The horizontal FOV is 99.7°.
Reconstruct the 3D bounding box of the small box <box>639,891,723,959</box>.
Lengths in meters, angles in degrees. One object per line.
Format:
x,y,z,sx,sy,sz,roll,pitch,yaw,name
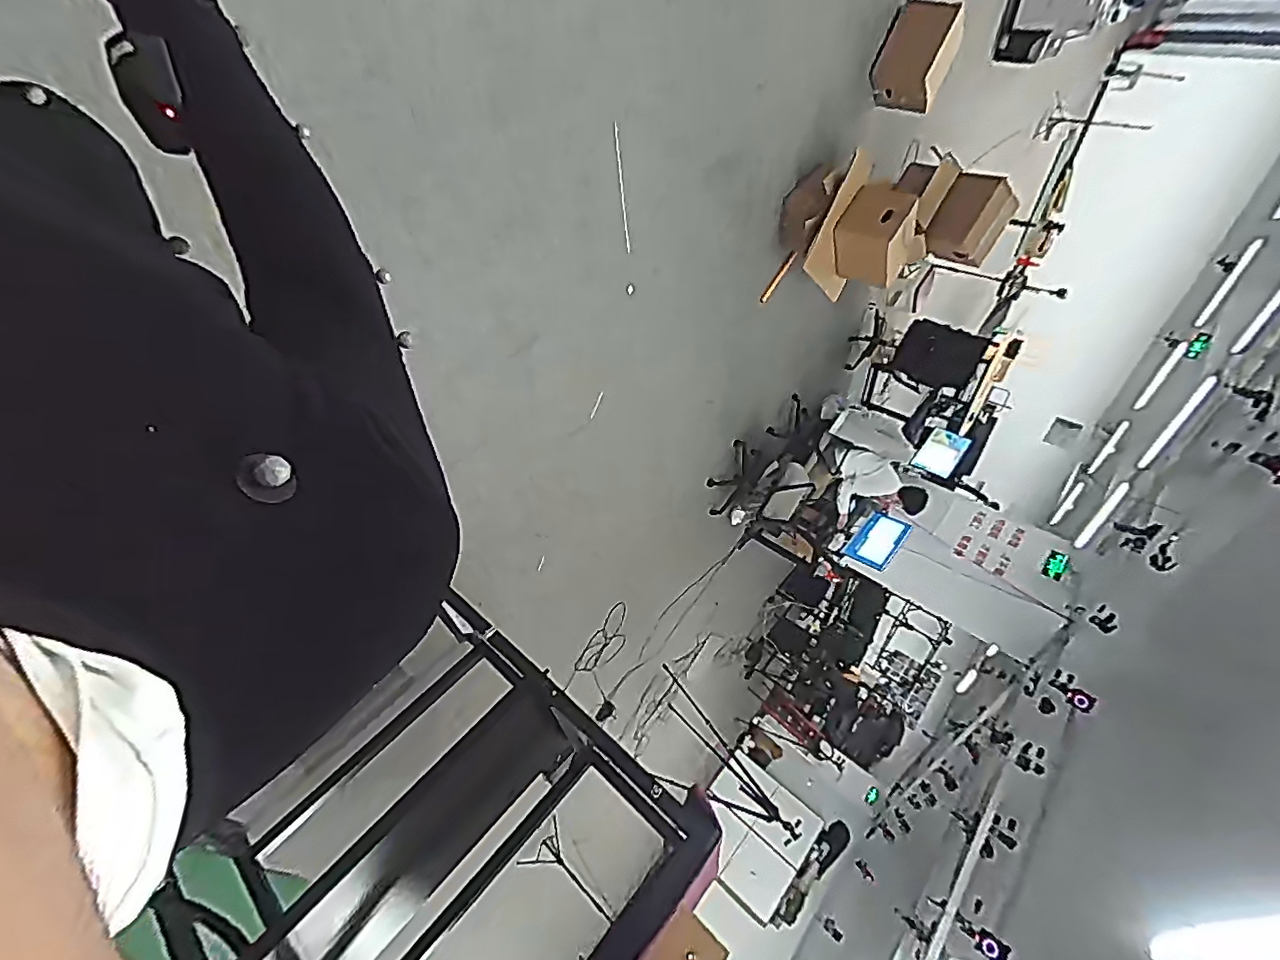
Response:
0.110,1.287,1.489,0.179,0.176,0.168,-43,147,-26,small box
